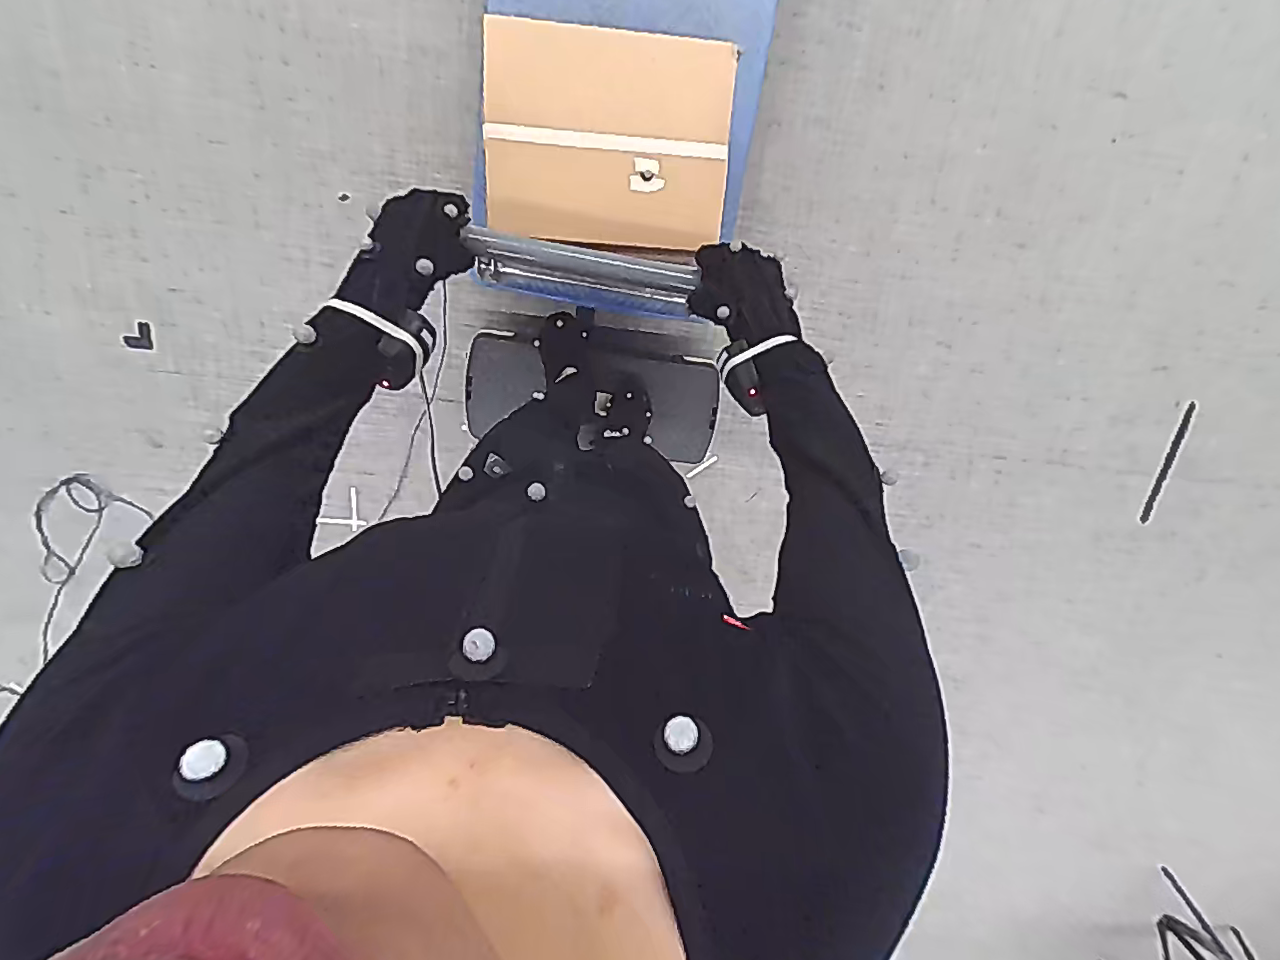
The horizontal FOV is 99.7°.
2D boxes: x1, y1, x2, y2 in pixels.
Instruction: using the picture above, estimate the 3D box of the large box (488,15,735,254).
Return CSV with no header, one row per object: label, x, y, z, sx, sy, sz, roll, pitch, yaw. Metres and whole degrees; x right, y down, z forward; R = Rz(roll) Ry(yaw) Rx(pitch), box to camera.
large box,-0.063,-0.626,1.051,0.408,0.320,0.320,2,110,-6
